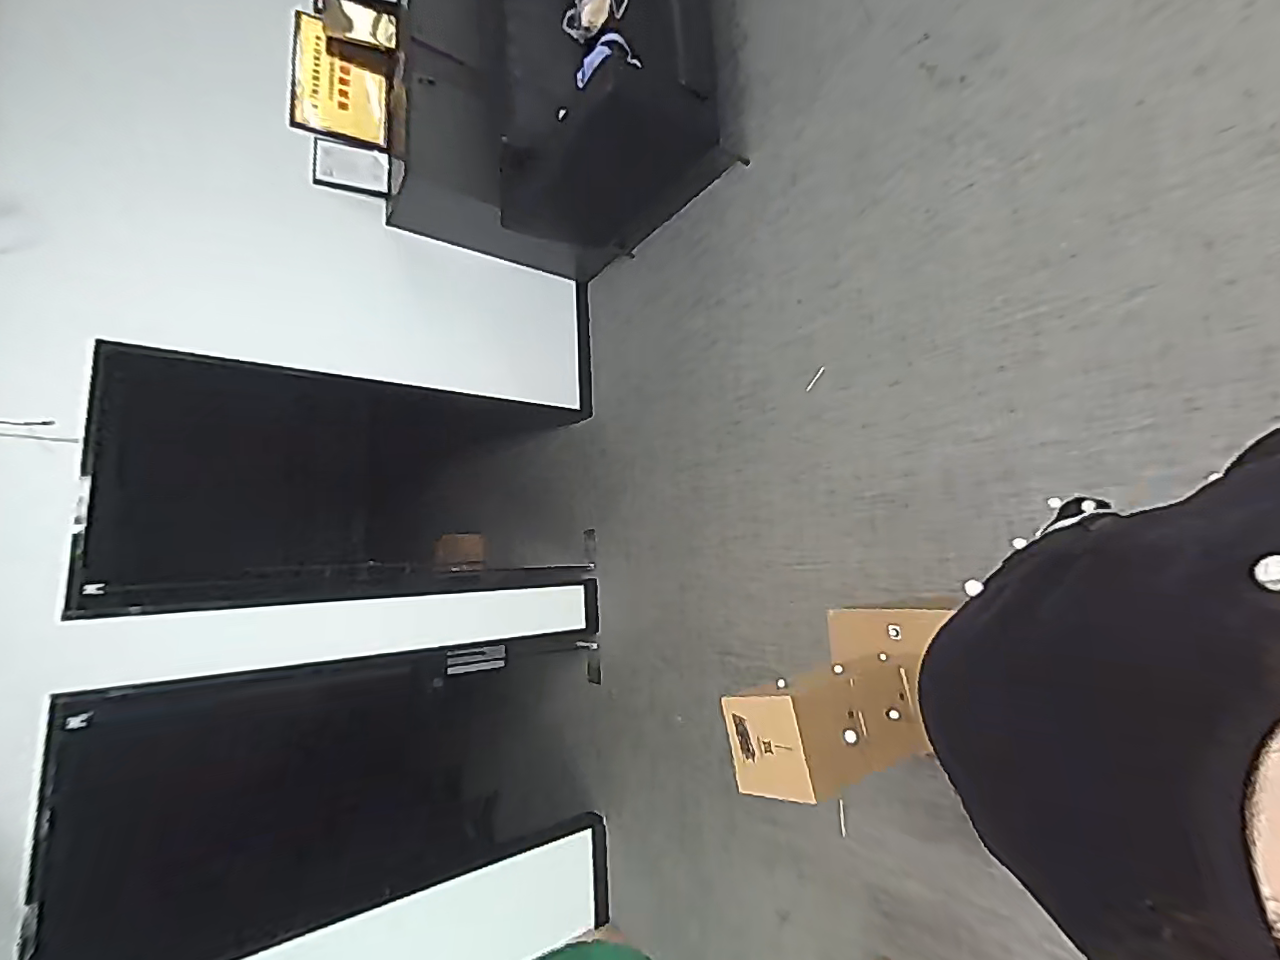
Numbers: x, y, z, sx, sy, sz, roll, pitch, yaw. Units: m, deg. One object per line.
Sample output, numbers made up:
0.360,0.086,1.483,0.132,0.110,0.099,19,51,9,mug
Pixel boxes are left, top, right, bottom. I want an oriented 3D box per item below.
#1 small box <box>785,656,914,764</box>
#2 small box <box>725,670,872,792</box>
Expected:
0.424,0.456,1.094,0.179,0.176,0.168,-28,66,49,small box
0.289,0.453,0.998,0.179,0.176,0.168,-29,66,49,small box
